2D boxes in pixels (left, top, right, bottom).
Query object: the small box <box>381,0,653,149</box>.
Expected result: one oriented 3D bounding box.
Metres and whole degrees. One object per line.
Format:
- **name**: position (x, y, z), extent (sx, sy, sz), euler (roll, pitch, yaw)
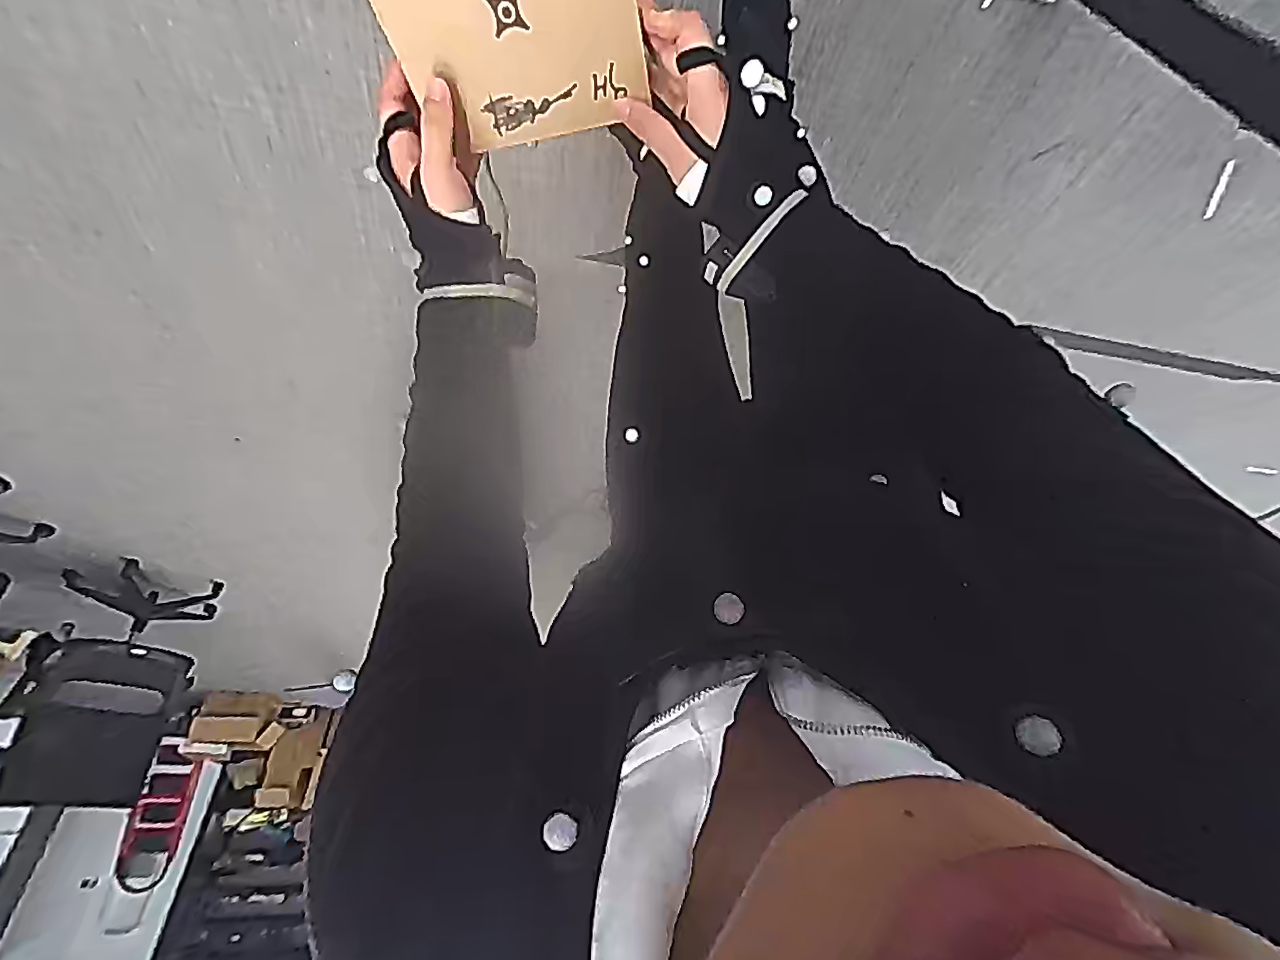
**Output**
- **small box**: position (-0.087, -0.379, 0.382), extent (0.168, 0.176, 0.179), euler (-7, 148, 7)
